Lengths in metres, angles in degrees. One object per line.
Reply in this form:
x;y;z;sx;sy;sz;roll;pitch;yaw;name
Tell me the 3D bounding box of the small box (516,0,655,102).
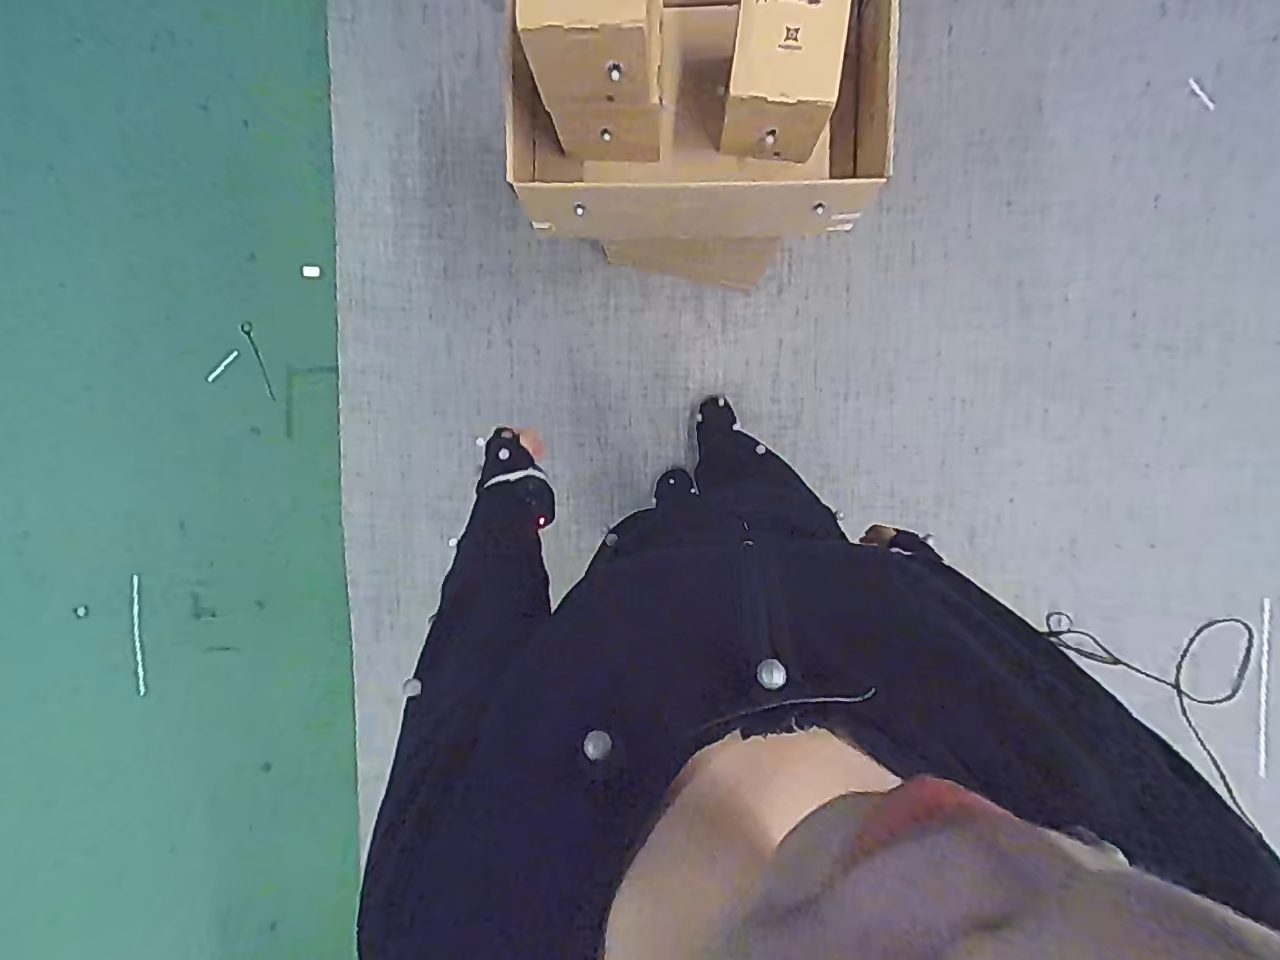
-0.065;-0.658;0.747;0.168;0.176;0.179;2;93;4;small box
